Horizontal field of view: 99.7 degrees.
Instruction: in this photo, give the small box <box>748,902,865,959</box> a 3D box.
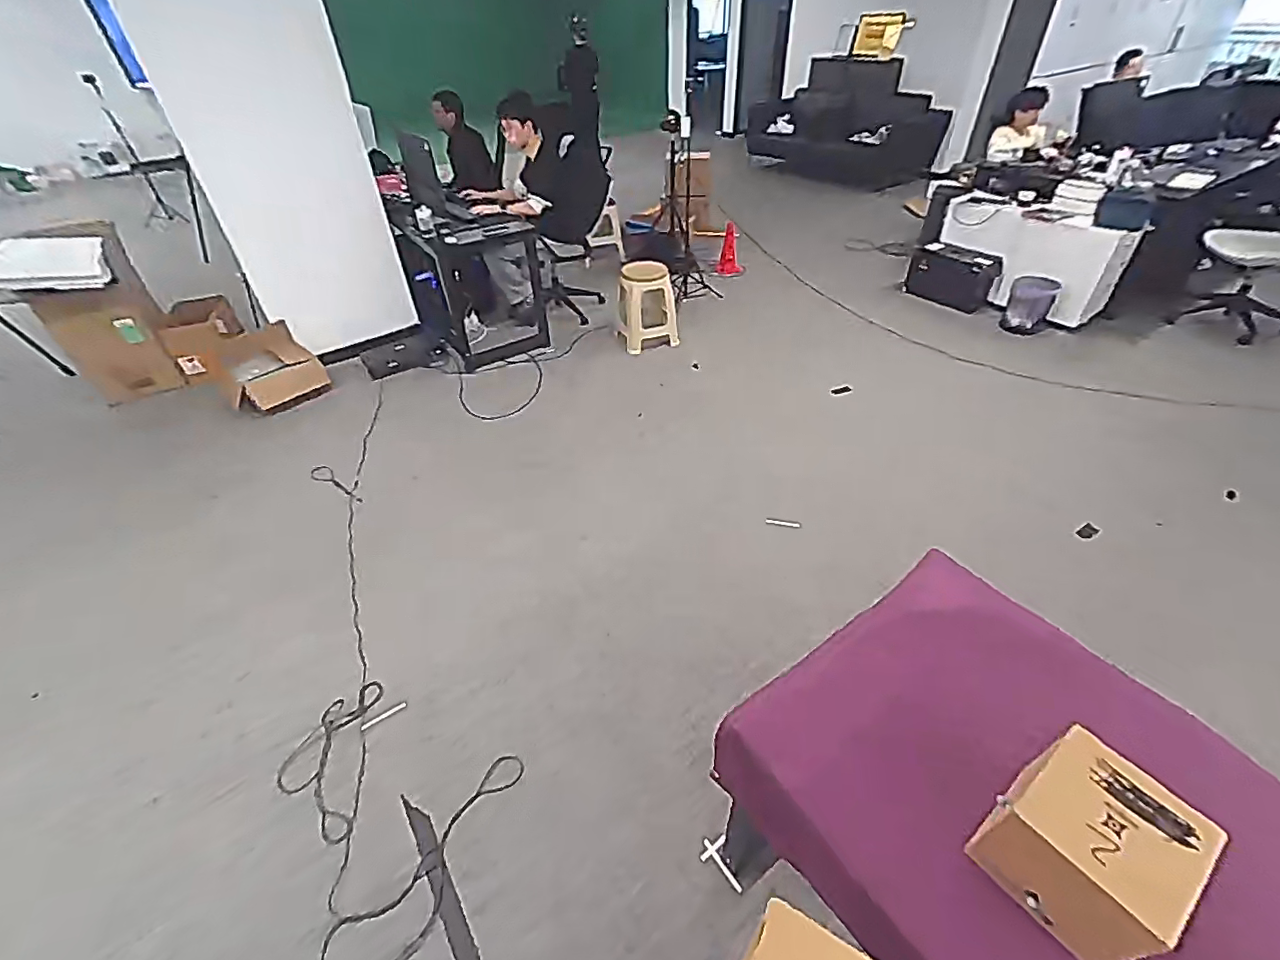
[{"bbox_3d":[0.185,0.636,0.594,0.179,0.176,0.168,19,28,24],"label":"small box"}]
